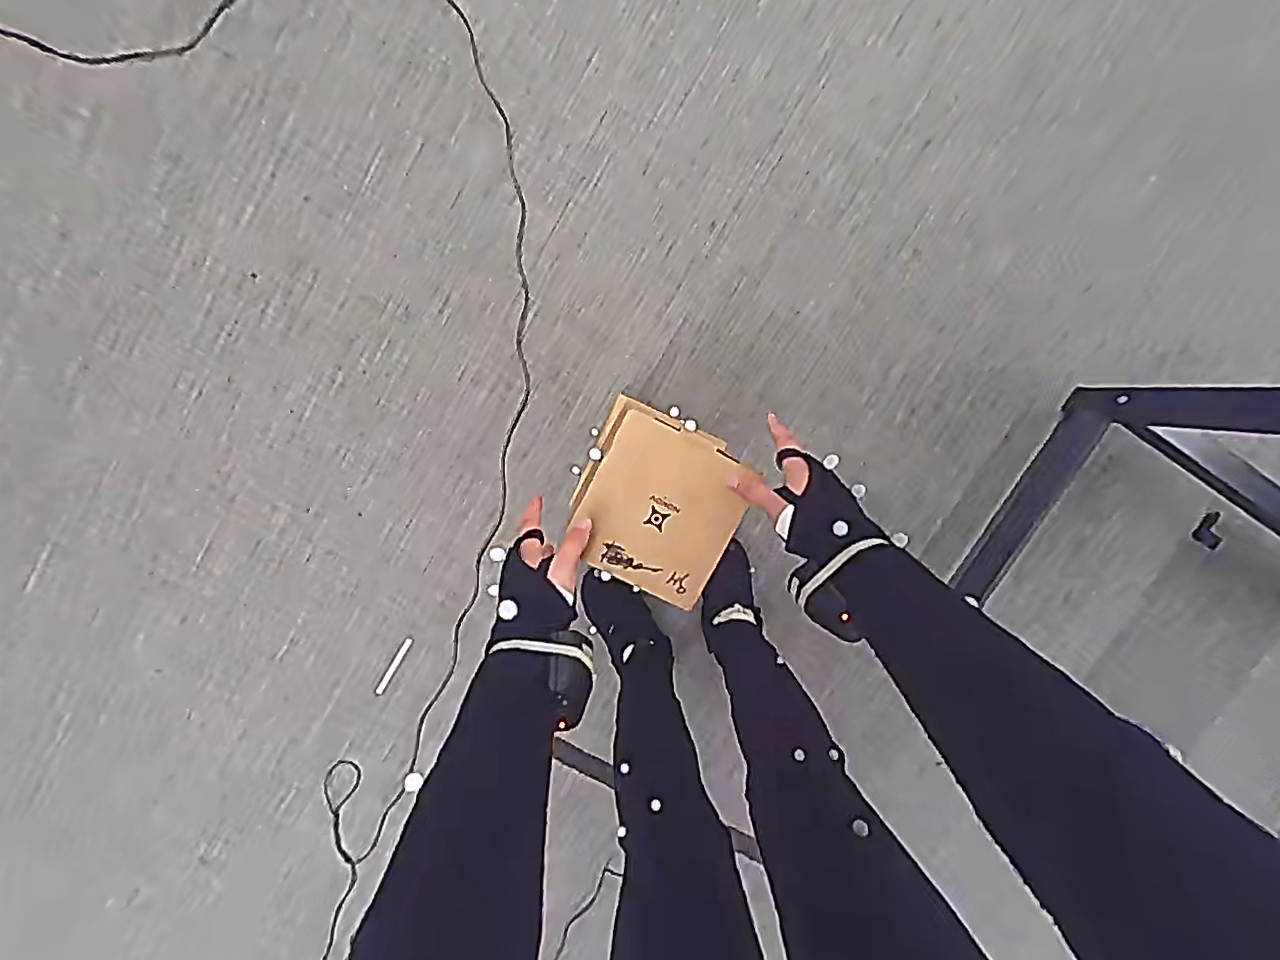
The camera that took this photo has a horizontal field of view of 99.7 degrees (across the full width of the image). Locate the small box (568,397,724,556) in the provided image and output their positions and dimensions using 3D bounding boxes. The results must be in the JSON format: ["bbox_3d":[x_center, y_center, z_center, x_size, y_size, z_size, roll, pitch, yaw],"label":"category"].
[{"bbox_3d":[0.004,-0.013,0.822,0.168,0.176,0.179,23,95,-7],"label":"small box"}]
